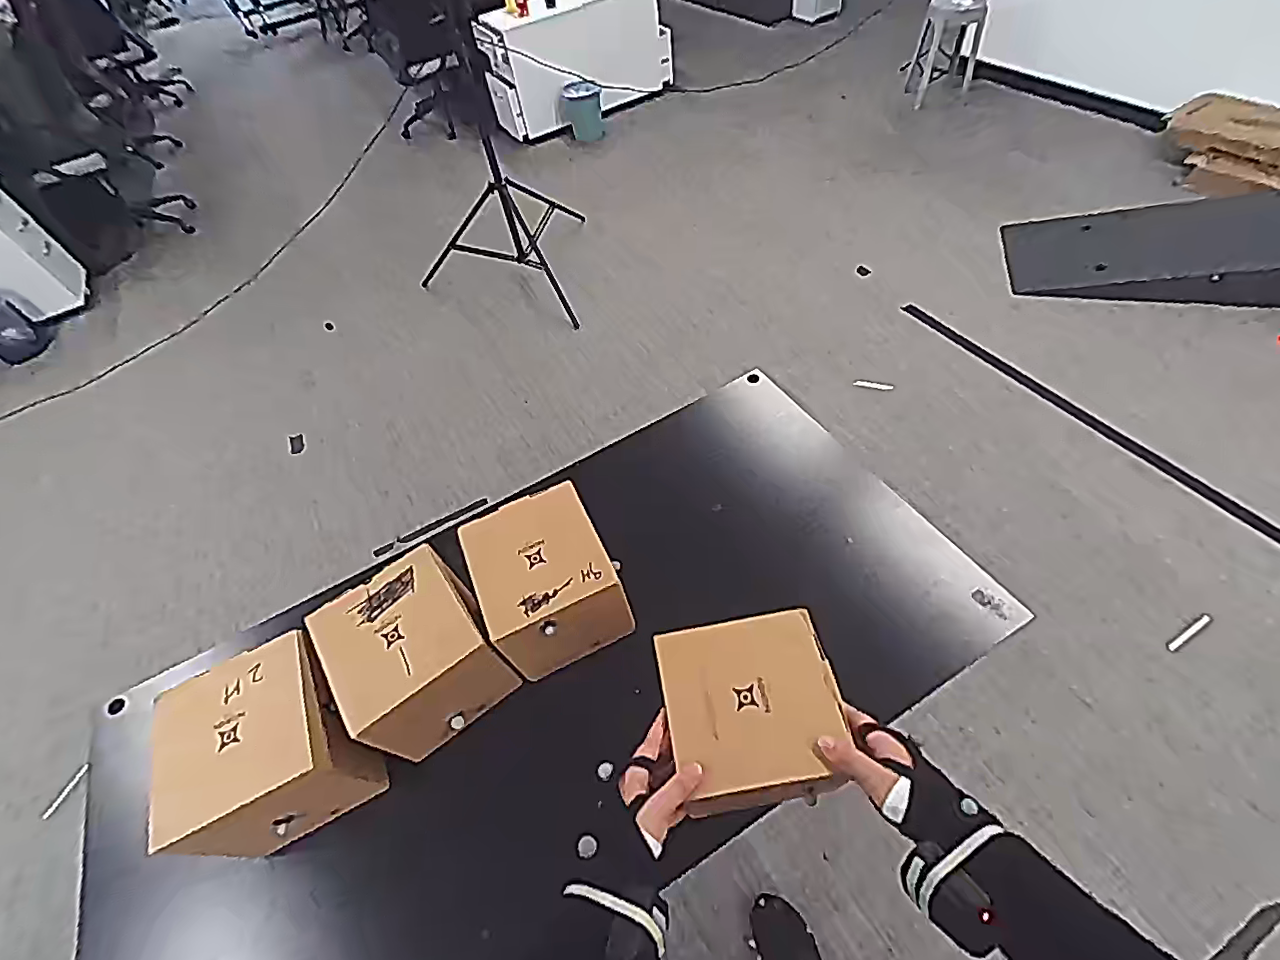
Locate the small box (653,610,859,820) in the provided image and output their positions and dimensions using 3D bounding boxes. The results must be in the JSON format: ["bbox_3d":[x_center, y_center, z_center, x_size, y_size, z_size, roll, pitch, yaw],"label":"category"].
[{"bbox_3d":[0.121,0.272,0.619,0.179,0.176,0.168,-13,51,1],"label":"small box"}]

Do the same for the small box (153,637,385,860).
[{"bbox_3d":[-0.439,0.330,0.663,0.168,0.176,0.179,-26,54,-12],"label":"small box"}]
